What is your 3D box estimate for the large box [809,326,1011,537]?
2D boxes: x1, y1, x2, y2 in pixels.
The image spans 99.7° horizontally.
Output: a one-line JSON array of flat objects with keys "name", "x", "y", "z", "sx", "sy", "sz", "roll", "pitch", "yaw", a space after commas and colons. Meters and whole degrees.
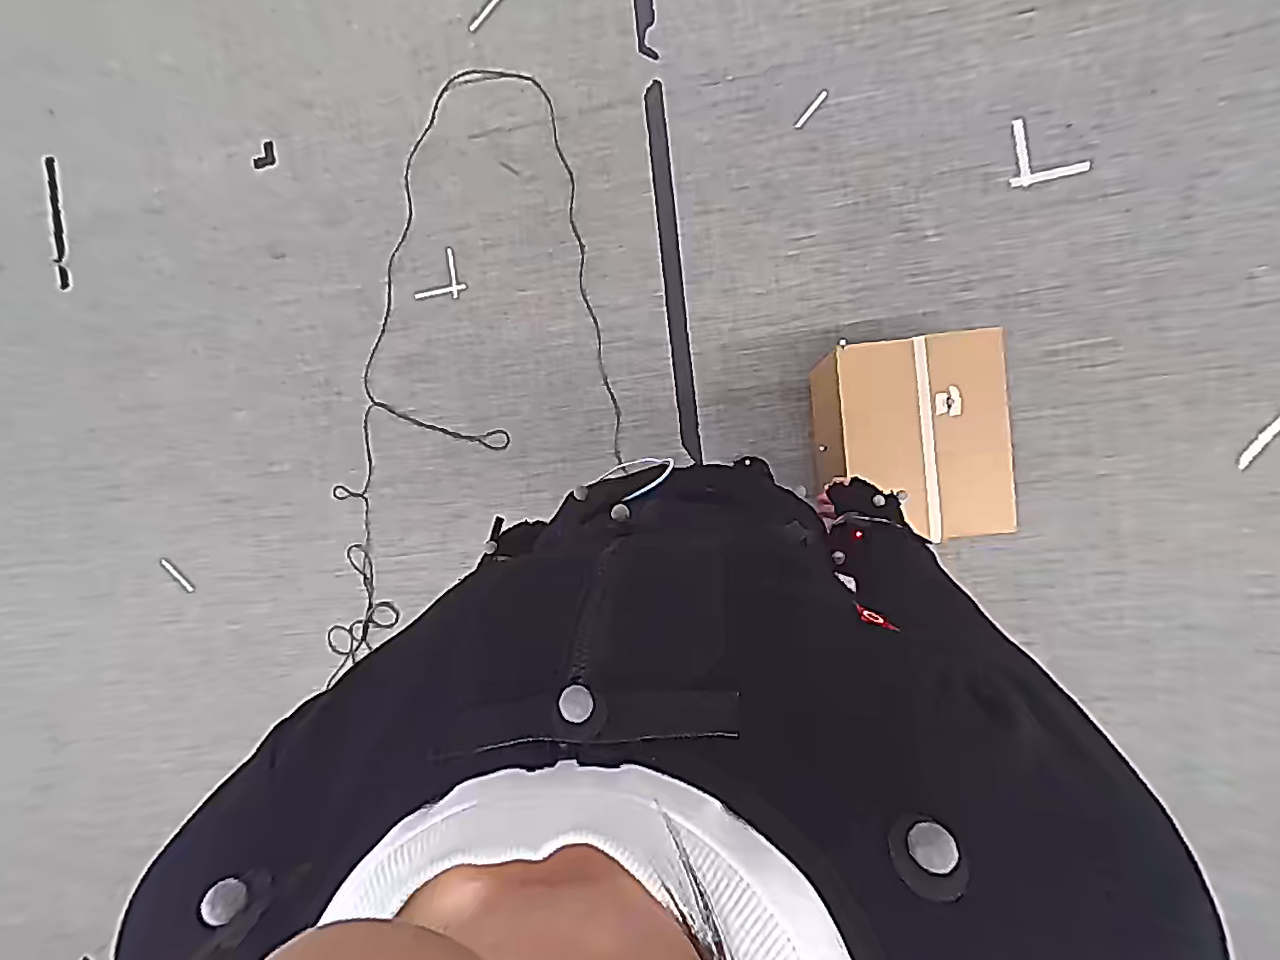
[{"name": "large box", "x": 0.586, "y": -0.096, "z": 1.239, "sx": 0.320, "sy": 0.320, "sz": 0.408, "roll": -5, "pitch": 91, "yaw": 6}]
